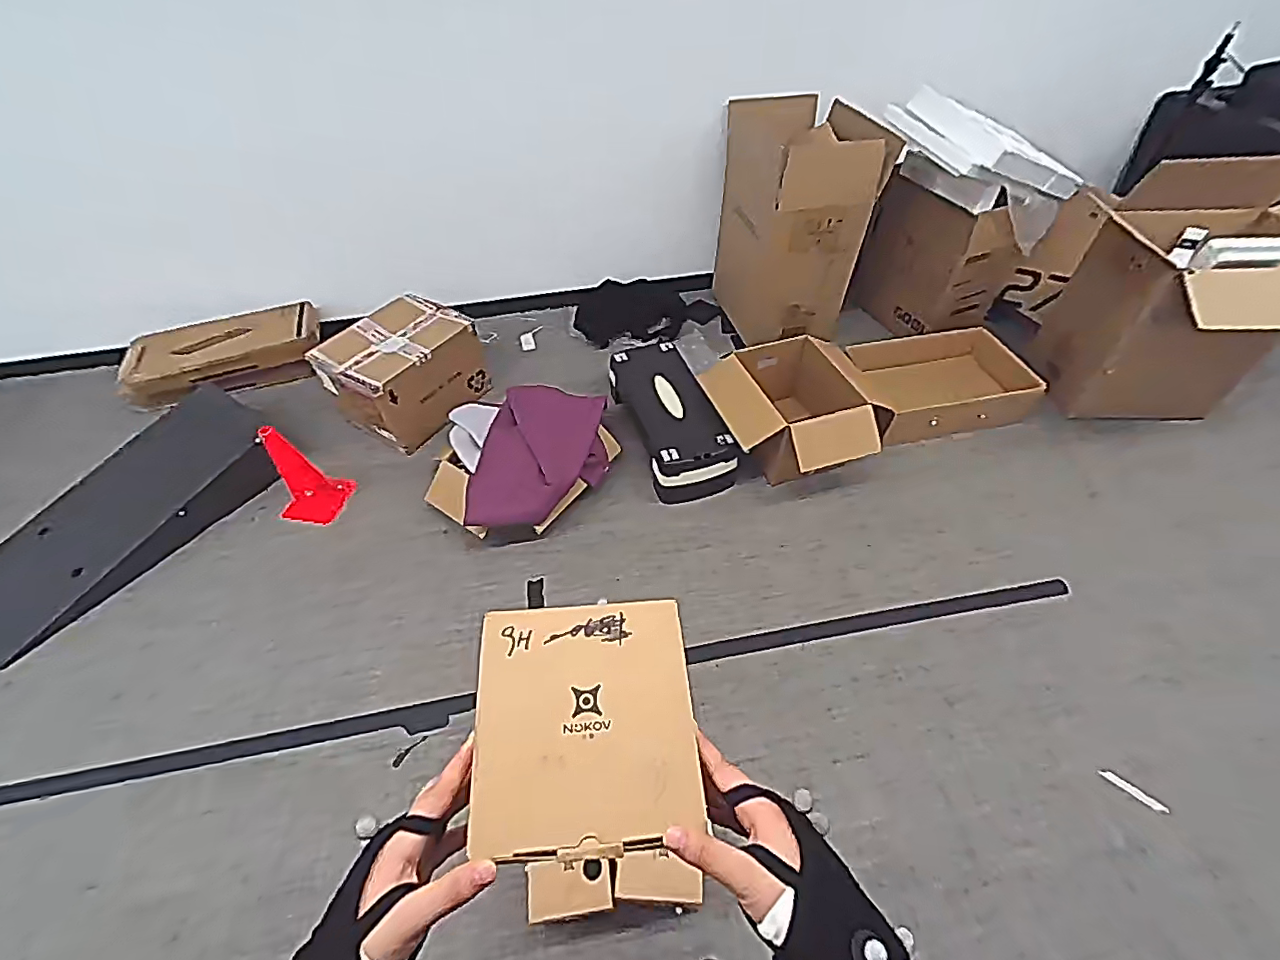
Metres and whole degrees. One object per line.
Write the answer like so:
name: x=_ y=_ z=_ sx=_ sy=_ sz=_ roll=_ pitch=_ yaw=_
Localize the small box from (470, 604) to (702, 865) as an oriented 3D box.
small box: x=-0.045 y=0.228 z=0.486 sx=0.168 sy=0.176 sz=0.179 roll=-3 pitch=56 yaw=-5
